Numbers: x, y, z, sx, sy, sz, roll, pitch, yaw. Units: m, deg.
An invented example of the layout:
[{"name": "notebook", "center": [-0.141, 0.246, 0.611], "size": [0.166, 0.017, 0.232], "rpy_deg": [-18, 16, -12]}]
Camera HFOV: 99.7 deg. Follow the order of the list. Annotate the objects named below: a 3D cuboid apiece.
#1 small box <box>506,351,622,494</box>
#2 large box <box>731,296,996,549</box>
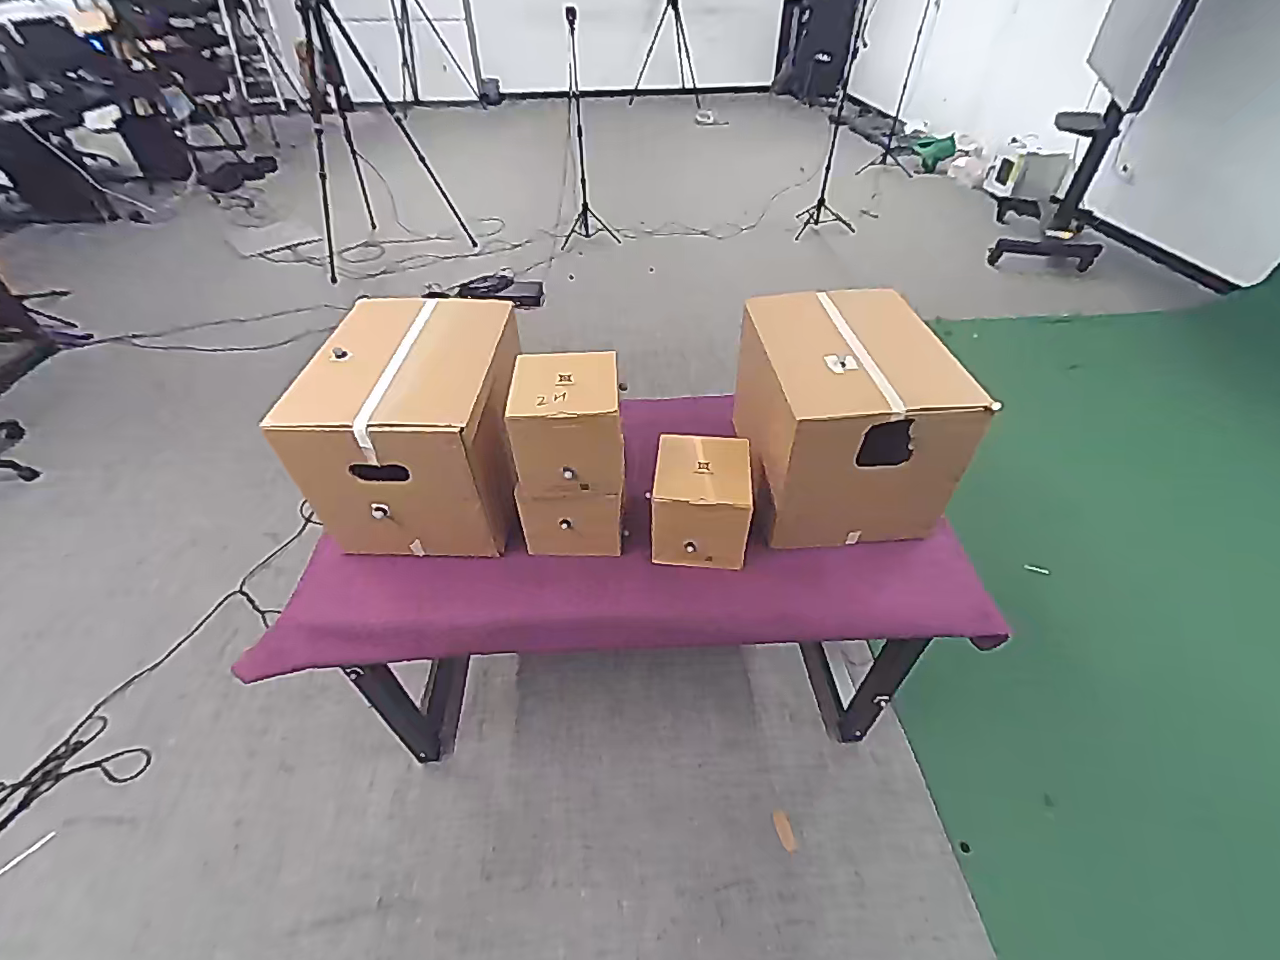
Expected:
[{"name": "small box", "center": [-0.117, -0.096, 0.899], "size": [0.168, 0.176, 0.179], "rpy_deg": [-2, 44, -1]}, {"name": "large box", "center": [0.380, -0.122, 1.061], "size": [0.320, 0.320, 0.408], "rpy_deg": [-5, 45, -1]}]
